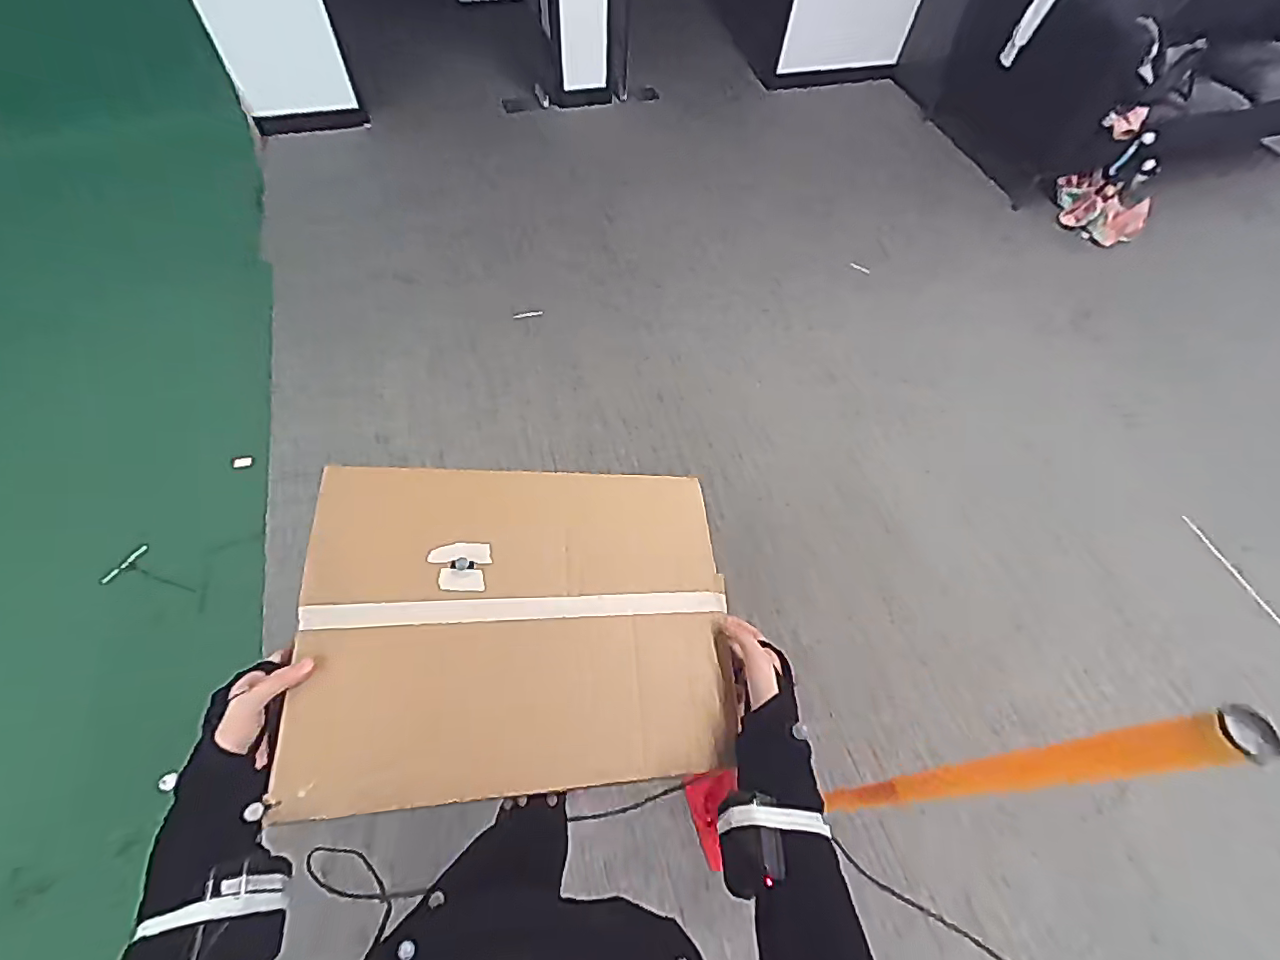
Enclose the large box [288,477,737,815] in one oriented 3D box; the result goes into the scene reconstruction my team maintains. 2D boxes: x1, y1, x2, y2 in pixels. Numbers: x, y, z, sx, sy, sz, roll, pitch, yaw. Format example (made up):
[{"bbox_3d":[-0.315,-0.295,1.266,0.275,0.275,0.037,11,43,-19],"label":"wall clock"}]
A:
[{"bbox_3d":[-0.141,0.201,0.679,0.408,0.320,0.320,2,63,-14],"label":"large box"}]
